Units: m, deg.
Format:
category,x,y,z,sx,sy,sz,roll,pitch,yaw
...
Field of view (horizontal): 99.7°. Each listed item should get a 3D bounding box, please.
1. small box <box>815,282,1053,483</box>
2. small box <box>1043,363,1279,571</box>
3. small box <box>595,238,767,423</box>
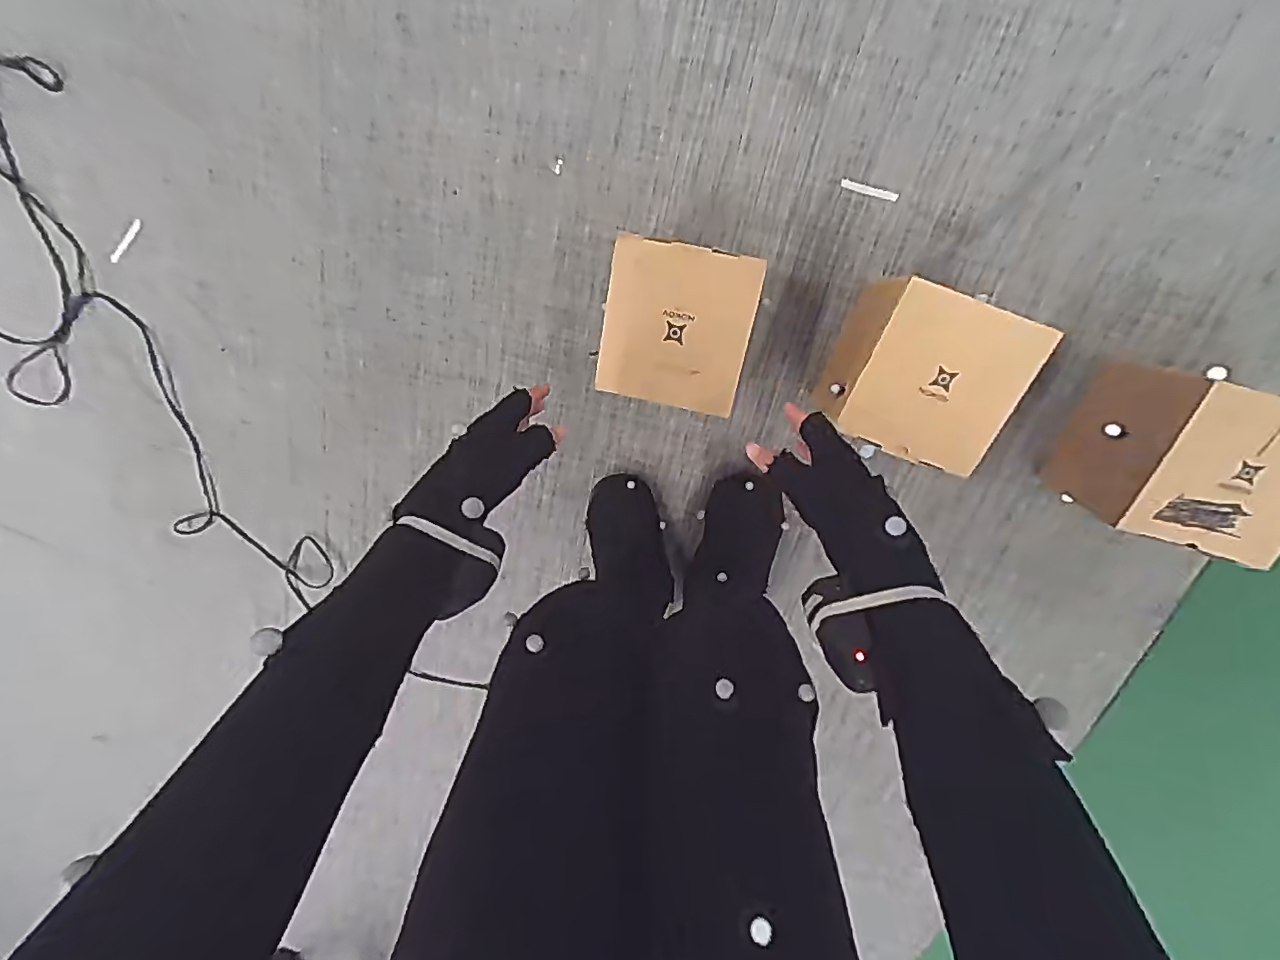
category,x,y,z,sx,sy,sz,roll,pitch,yaw
small box,0.330,-0.128,0.655,0.168,0.176,0.179,21,113,0
small box,0.632,-0.026,0.646,0.168,0.176,0.179,17,111,3
small box,0.053,-0.192,0.676,0.168,0.176,0.179,13,114,6
